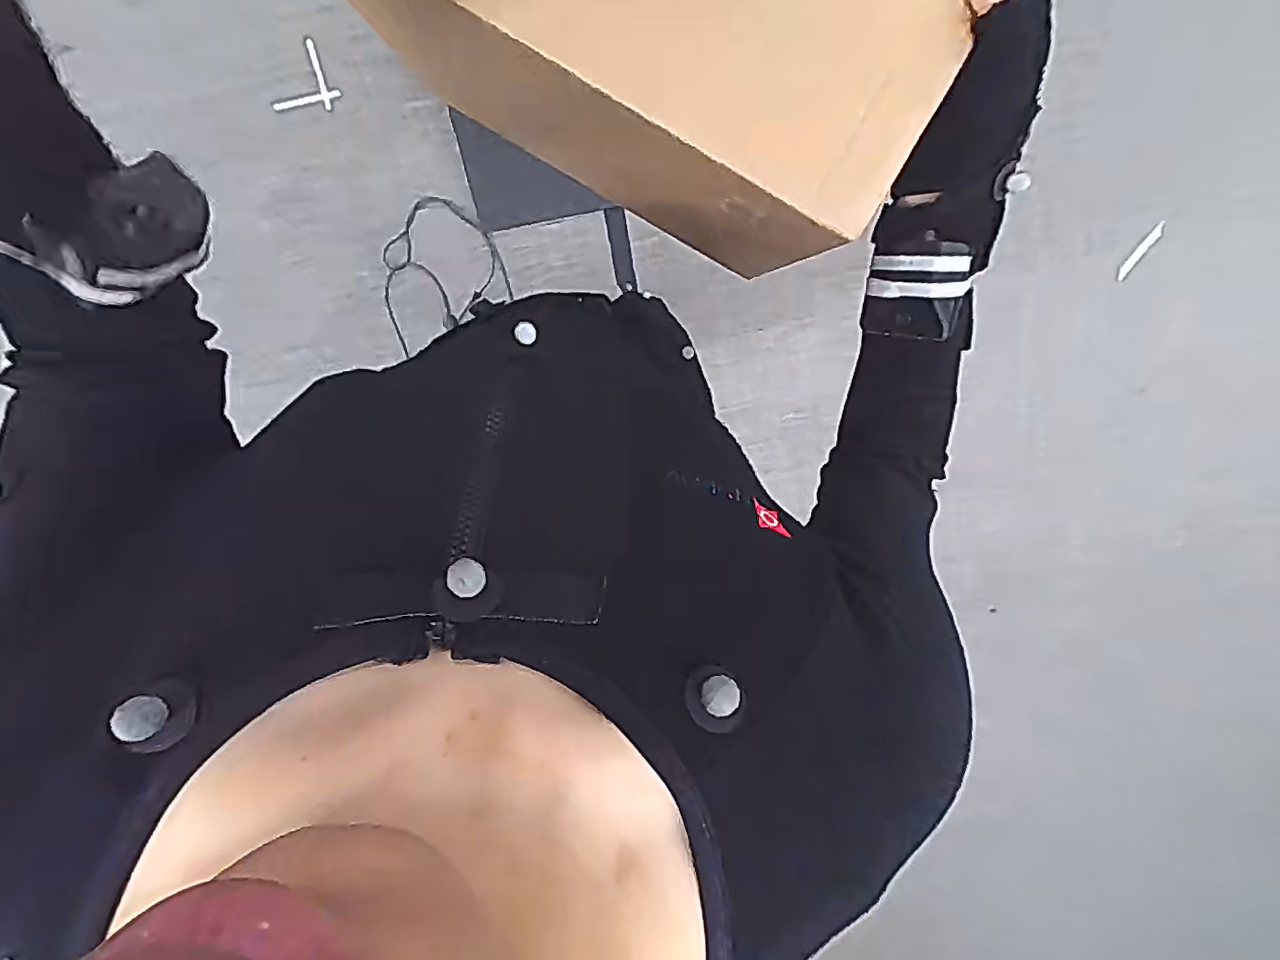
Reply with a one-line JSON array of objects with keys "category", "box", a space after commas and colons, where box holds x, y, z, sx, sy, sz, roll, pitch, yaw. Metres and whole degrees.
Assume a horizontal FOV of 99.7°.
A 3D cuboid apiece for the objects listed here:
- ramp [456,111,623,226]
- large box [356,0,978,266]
[{"category": "ramp", "box": [-0.220, -1.099, 1.094, 0.509, 0.206, 0.991, -13, 106, 0]}, {"category": "large box", "box": [0.025, -0.421, 0.435, 0.408, 0.320, 0.320, 25, 105, -9]}]
